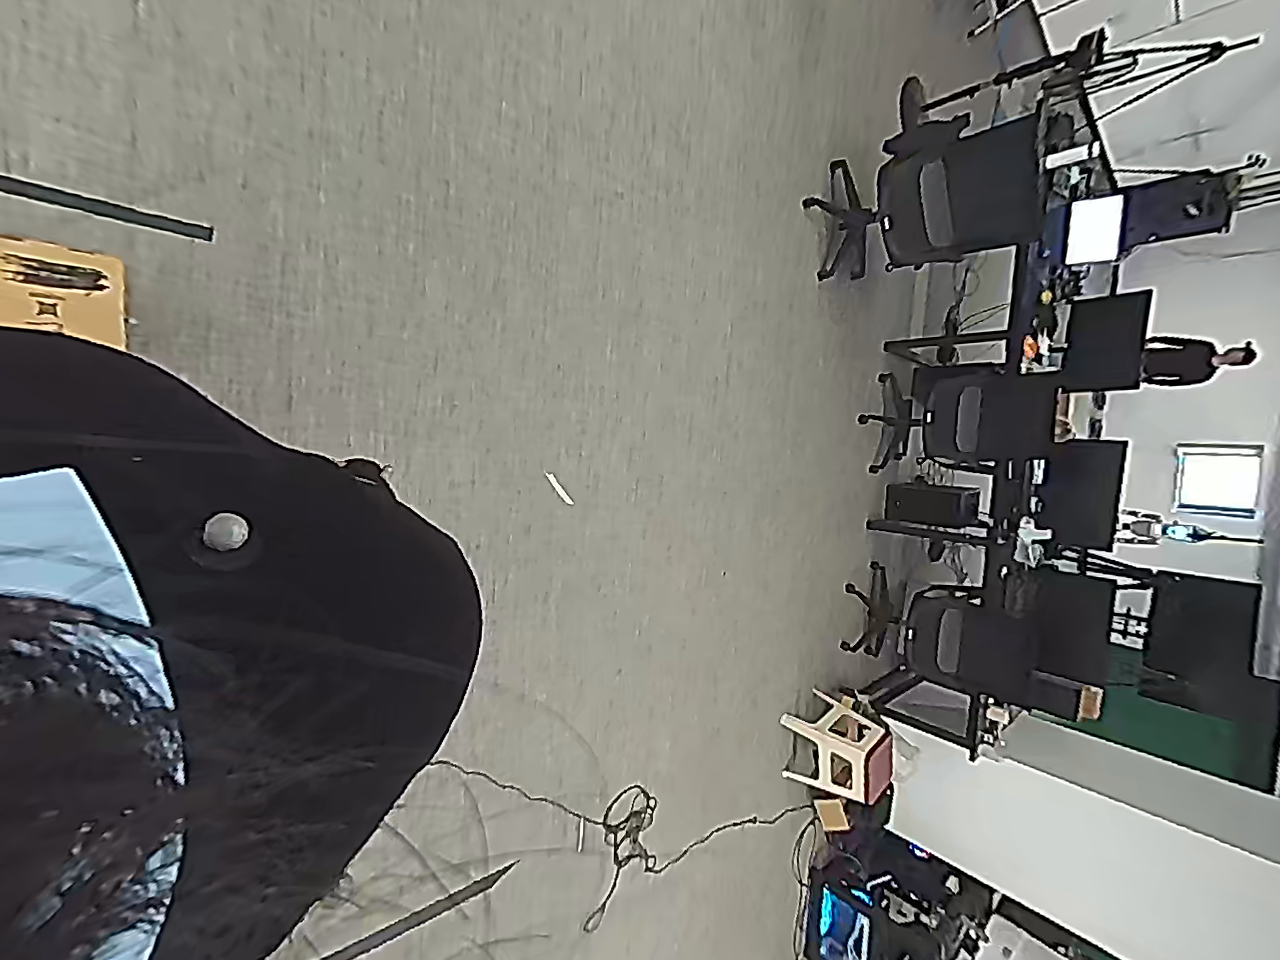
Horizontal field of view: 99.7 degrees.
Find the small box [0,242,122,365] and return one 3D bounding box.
[{"bbox_3d":[-1.052,-0.307,0.970,0.168,0.176,0.179,-6,99,-43],"label":"small box"}]
